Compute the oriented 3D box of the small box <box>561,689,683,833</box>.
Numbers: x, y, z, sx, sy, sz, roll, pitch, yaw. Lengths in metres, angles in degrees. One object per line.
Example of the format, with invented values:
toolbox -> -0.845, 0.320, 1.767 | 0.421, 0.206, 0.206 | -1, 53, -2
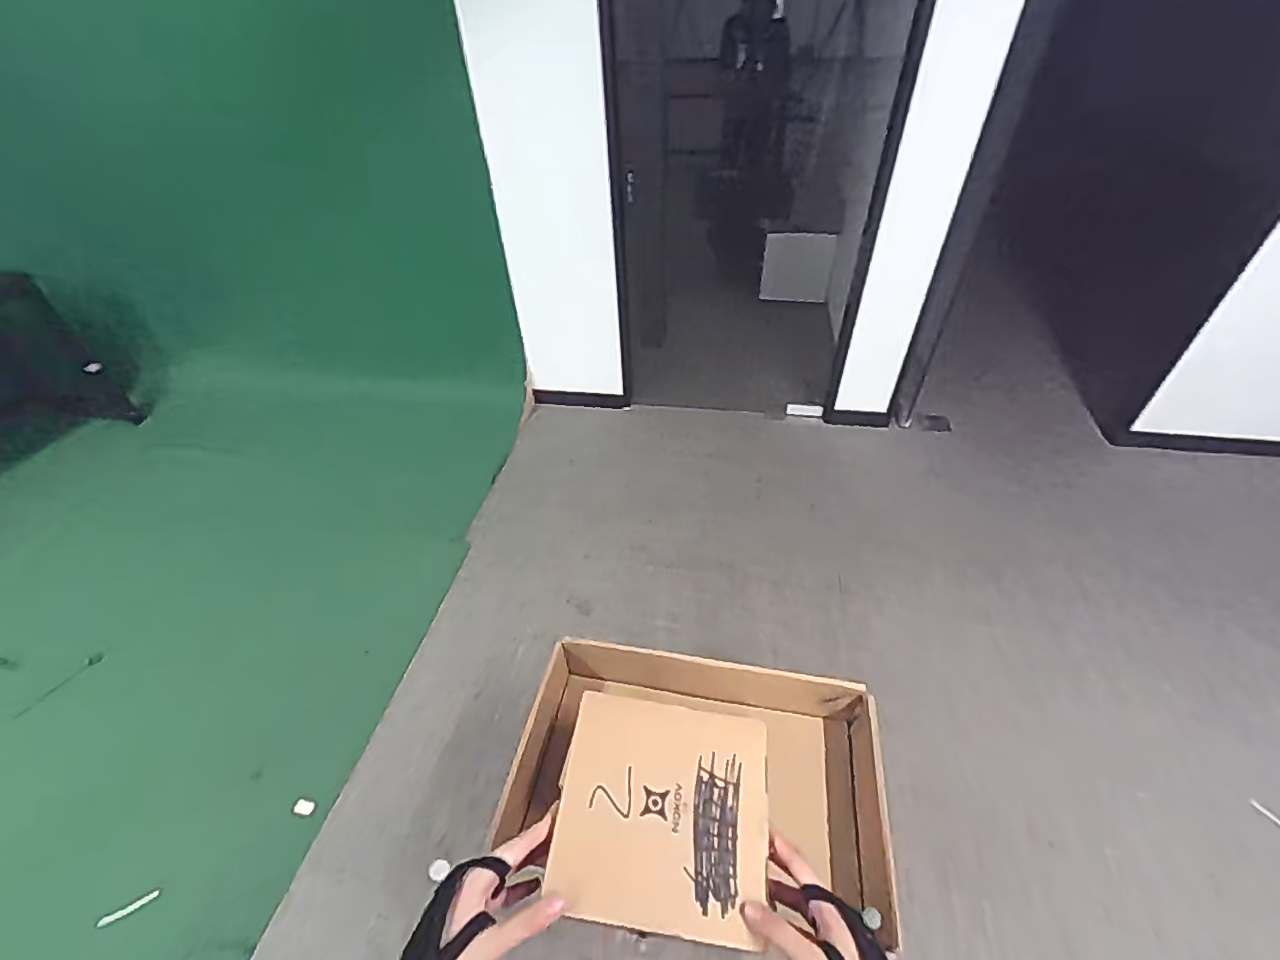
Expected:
small box -> -0.023, 0.505, 0.967 | 0.179, 0.176, 0.168 | 7, 43, 11
